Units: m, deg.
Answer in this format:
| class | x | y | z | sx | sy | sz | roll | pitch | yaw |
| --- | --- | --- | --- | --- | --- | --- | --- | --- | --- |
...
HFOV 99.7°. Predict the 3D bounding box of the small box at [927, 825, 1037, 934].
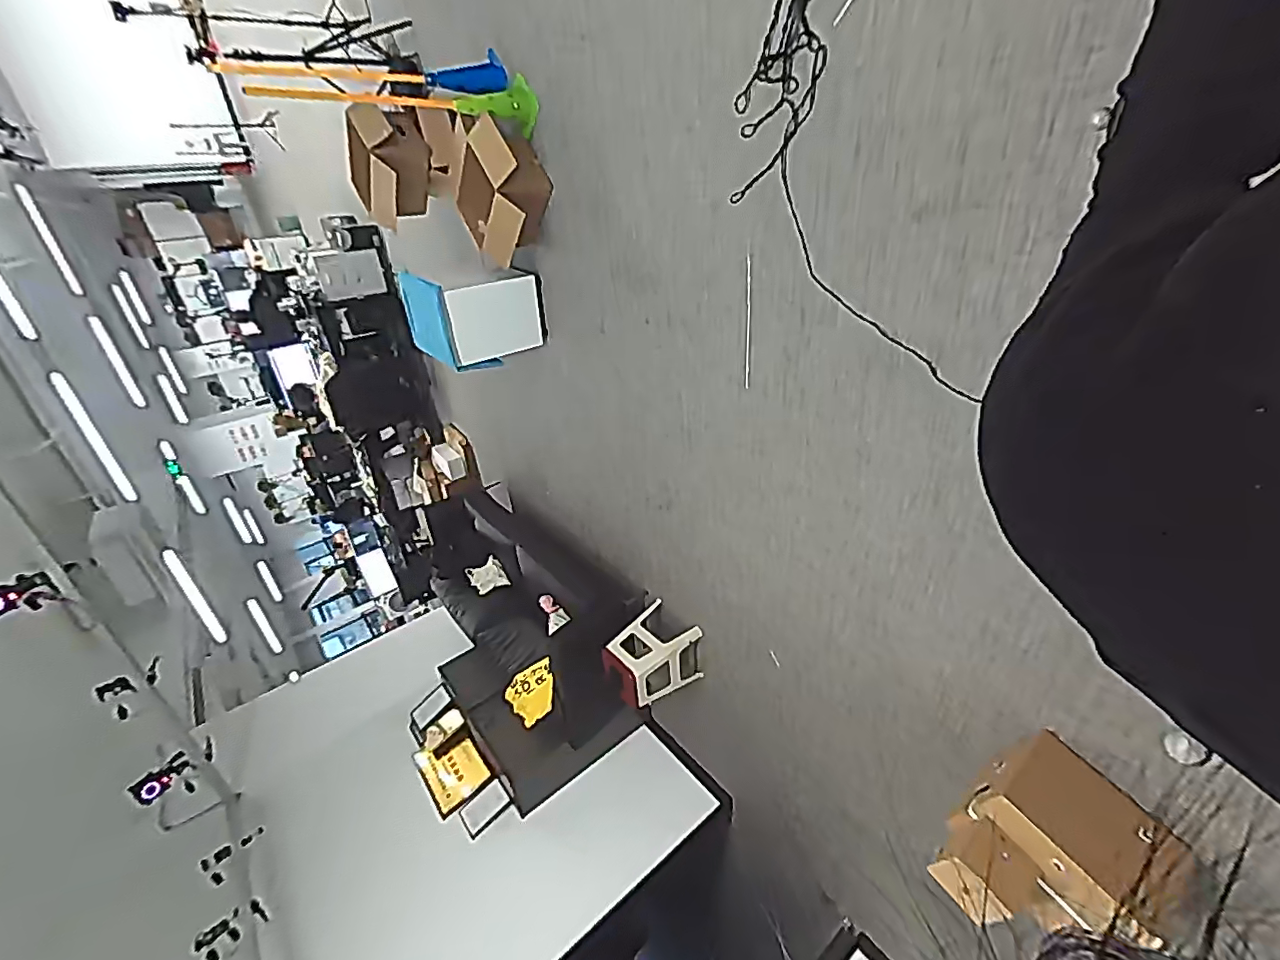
| class | x | y | z | sx | sy | sz | roll | pitch | yaw |
| --- | --- | --- | --- | --- | --- | --- | --- | --- | --- |
| small box | 0.948 | 1.103 | 1.498 | 0.168 | 0.176 | 0.179 | 45 | 144 | 30 |
